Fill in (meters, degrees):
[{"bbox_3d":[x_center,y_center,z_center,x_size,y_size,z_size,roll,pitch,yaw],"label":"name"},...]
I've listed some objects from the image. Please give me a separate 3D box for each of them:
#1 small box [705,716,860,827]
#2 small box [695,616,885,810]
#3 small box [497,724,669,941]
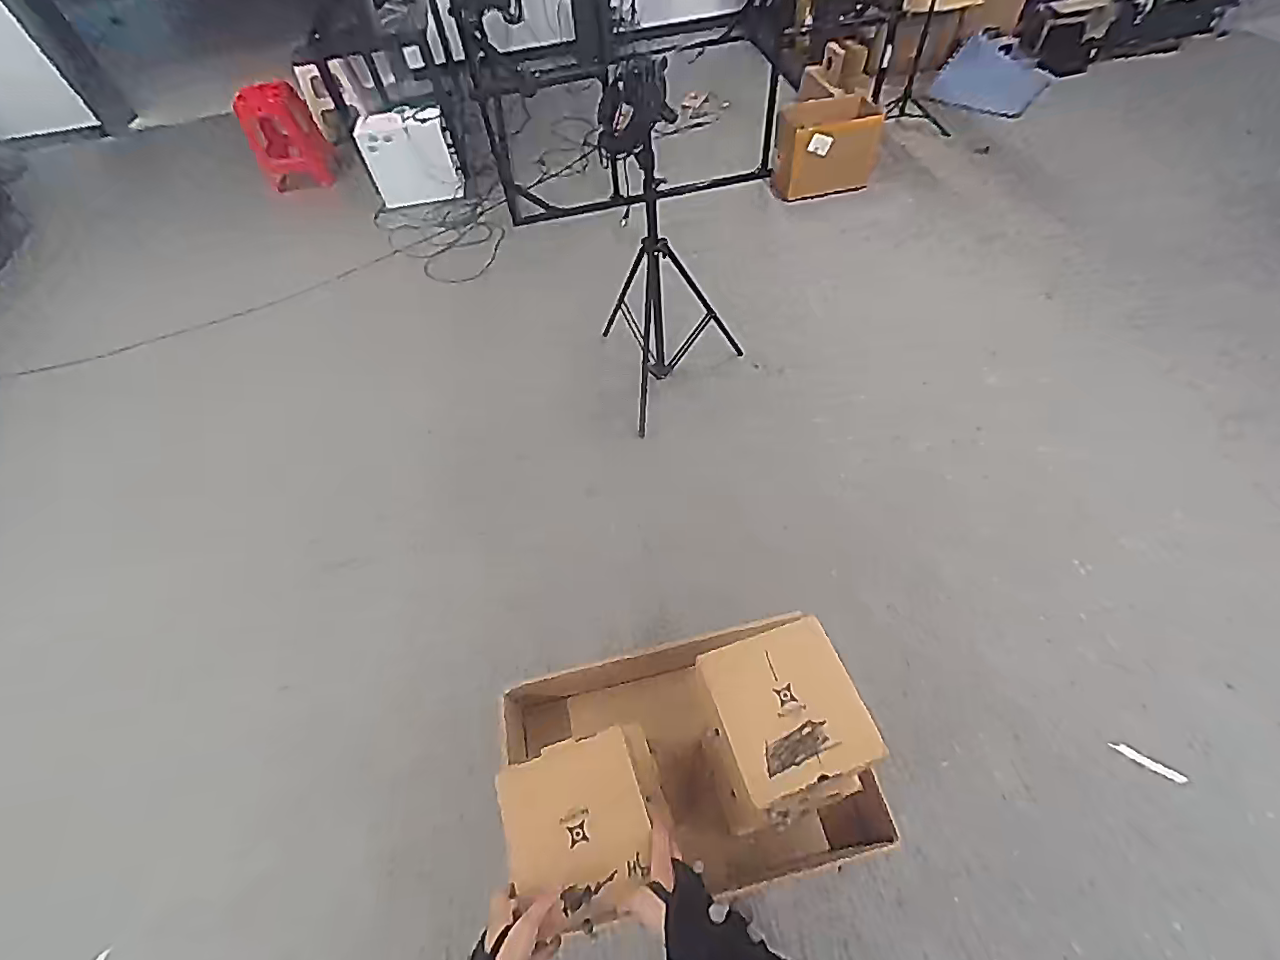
[{"bbox_3d":[0.202,0.410,0.831,0.168,0.176,0.179,-15,56,-5],"label":"small box"},{"bbox_3d":[0.179,0.308,0.703,0.168,0.176,0.179,-17,55,-7],"label":"small box"},{"bbox_3d":[-0.069,0.441,0.692,0.168,0.176,0.179,-18,58,-8],"label":"small box"}]
